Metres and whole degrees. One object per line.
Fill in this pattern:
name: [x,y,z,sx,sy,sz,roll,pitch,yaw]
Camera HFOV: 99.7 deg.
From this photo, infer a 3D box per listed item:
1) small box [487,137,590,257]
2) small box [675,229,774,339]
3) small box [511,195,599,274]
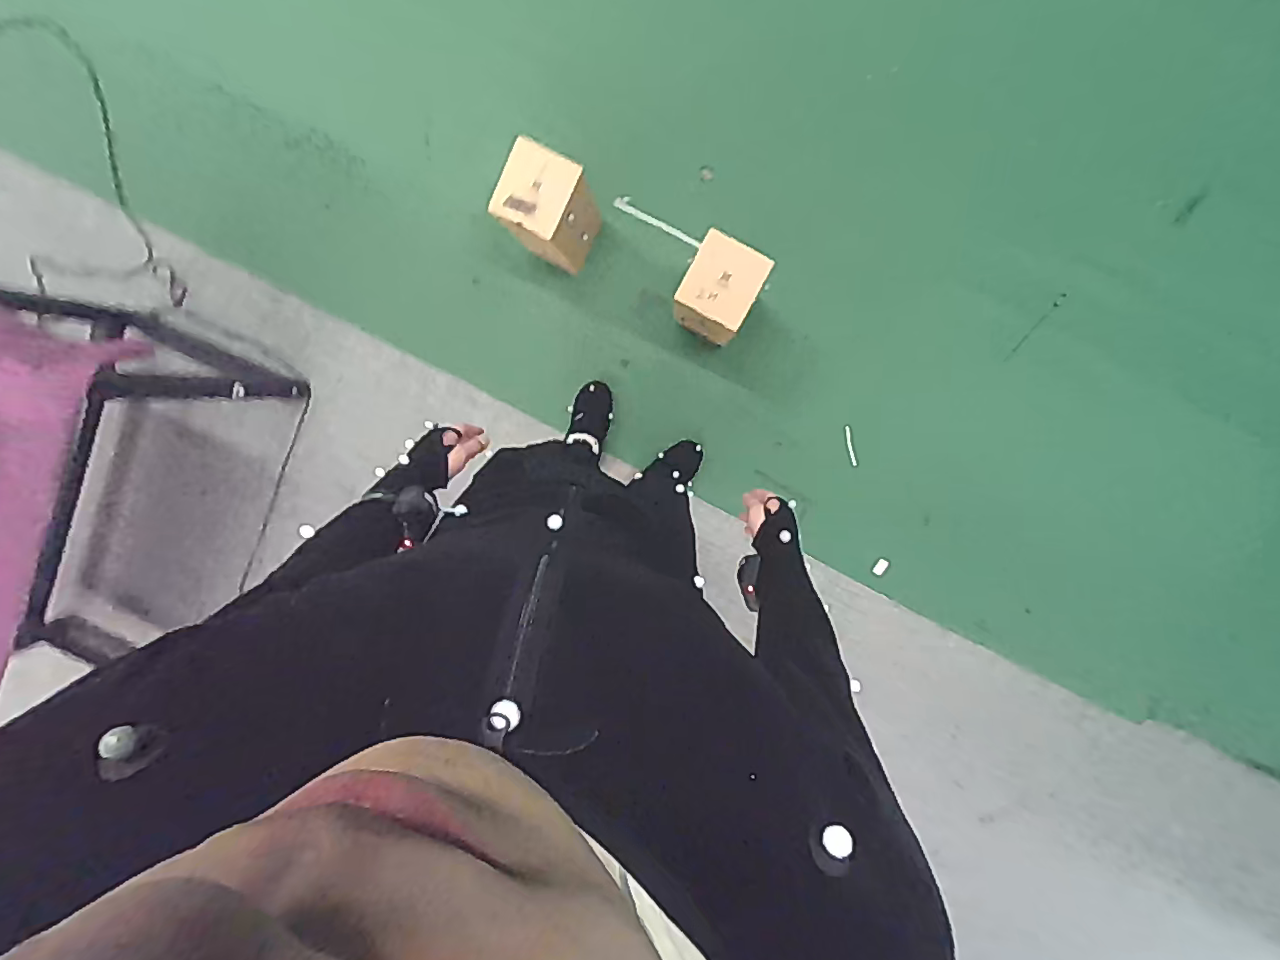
small box: [-0.233,-0.666,1.299,0.168,0.176,0.179,27,99,0]
small box: [0.193,-0.459,1.293,0.168,0.176,0.179,29,99,0]
small box: [-0.221,-0.689,1.461,0.168,0.176,0.179,27,99,0]
